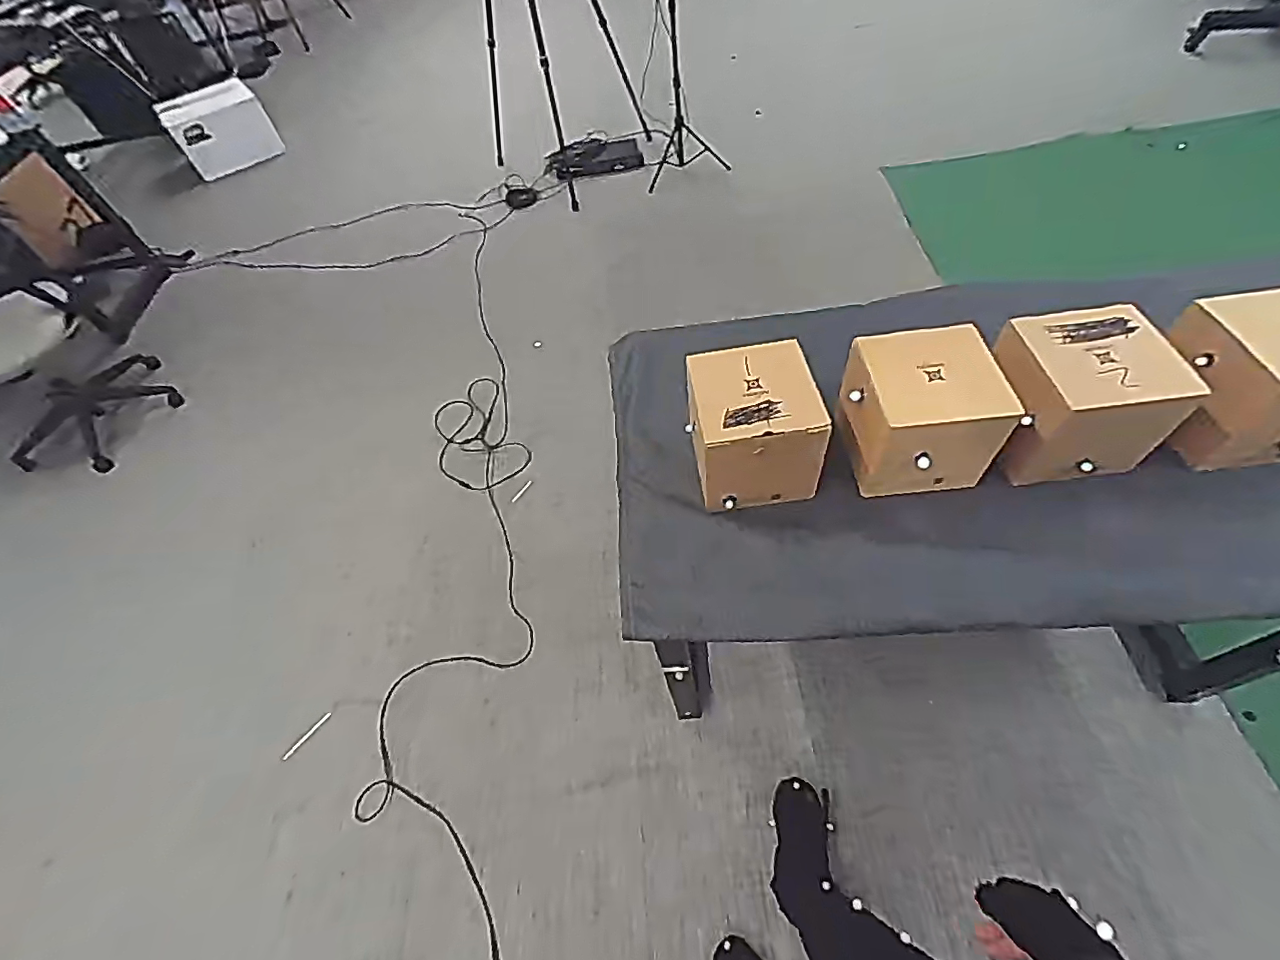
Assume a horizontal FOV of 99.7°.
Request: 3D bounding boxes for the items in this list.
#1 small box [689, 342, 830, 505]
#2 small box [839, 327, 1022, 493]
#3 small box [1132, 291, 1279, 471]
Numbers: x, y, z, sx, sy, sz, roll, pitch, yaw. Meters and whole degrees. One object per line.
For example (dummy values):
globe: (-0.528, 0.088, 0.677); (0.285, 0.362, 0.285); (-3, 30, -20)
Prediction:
small box: (0.170, -0.076, 0.810); (0.168, 0.176, 0.179); (-8, 53, 2)
small box: (0.403, -0.093, 0.789); (0.168, 0.176, 0.179); (-6, 53, 5)
small box: (0.849, -0.135, 0.746); (0.168, 0.176, 0.179); (-7, 54, 5)
